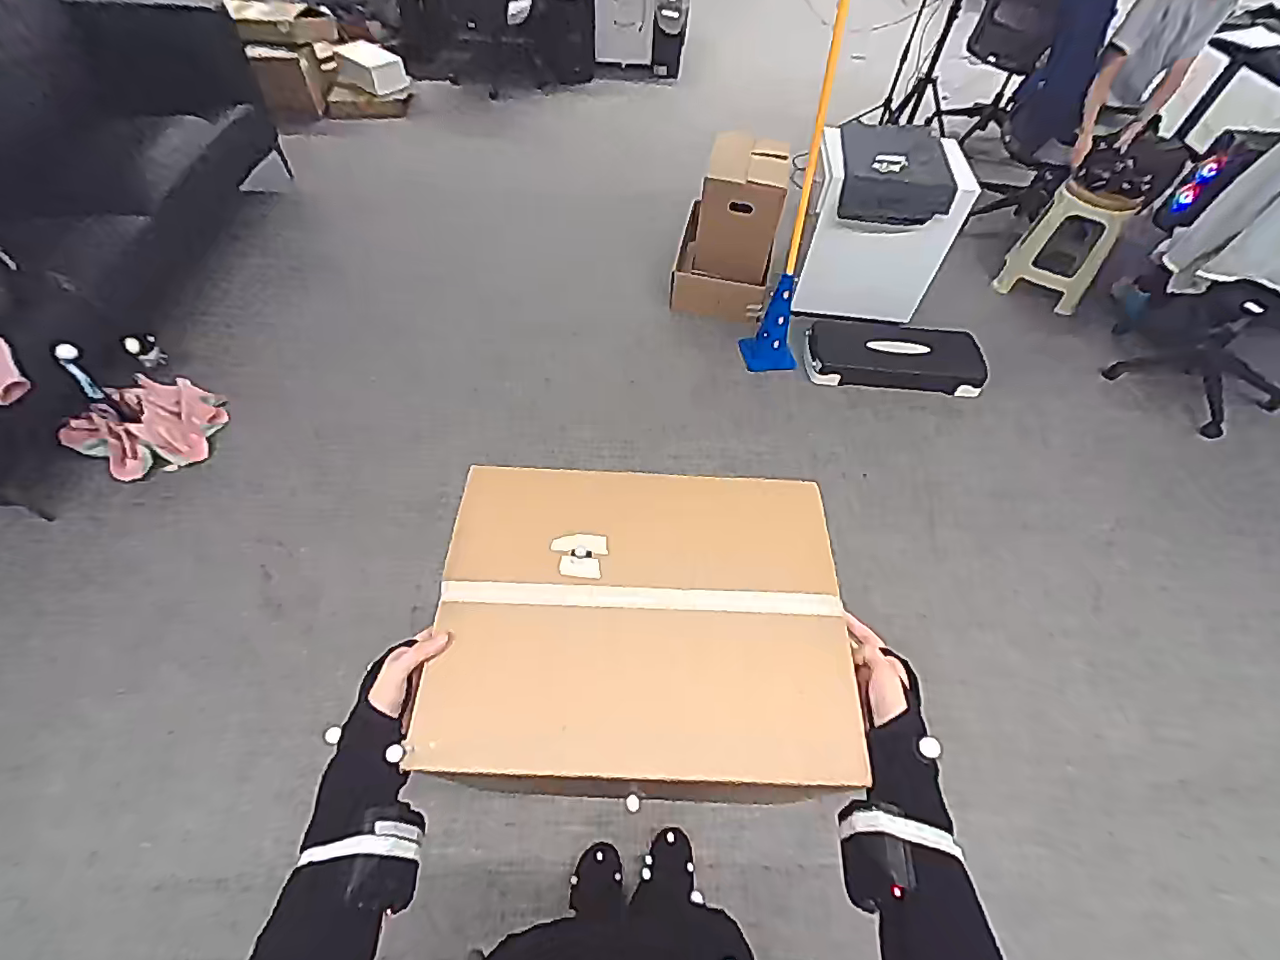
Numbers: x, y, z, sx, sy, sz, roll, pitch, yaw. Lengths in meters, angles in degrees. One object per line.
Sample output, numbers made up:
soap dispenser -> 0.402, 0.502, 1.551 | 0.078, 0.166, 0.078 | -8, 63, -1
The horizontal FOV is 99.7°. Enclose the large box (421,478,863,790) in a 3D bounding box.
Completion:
large box -> 0.004, 0.210, 0.684 | 0.408, 0.320, 0.320 | 2, 56, 0
